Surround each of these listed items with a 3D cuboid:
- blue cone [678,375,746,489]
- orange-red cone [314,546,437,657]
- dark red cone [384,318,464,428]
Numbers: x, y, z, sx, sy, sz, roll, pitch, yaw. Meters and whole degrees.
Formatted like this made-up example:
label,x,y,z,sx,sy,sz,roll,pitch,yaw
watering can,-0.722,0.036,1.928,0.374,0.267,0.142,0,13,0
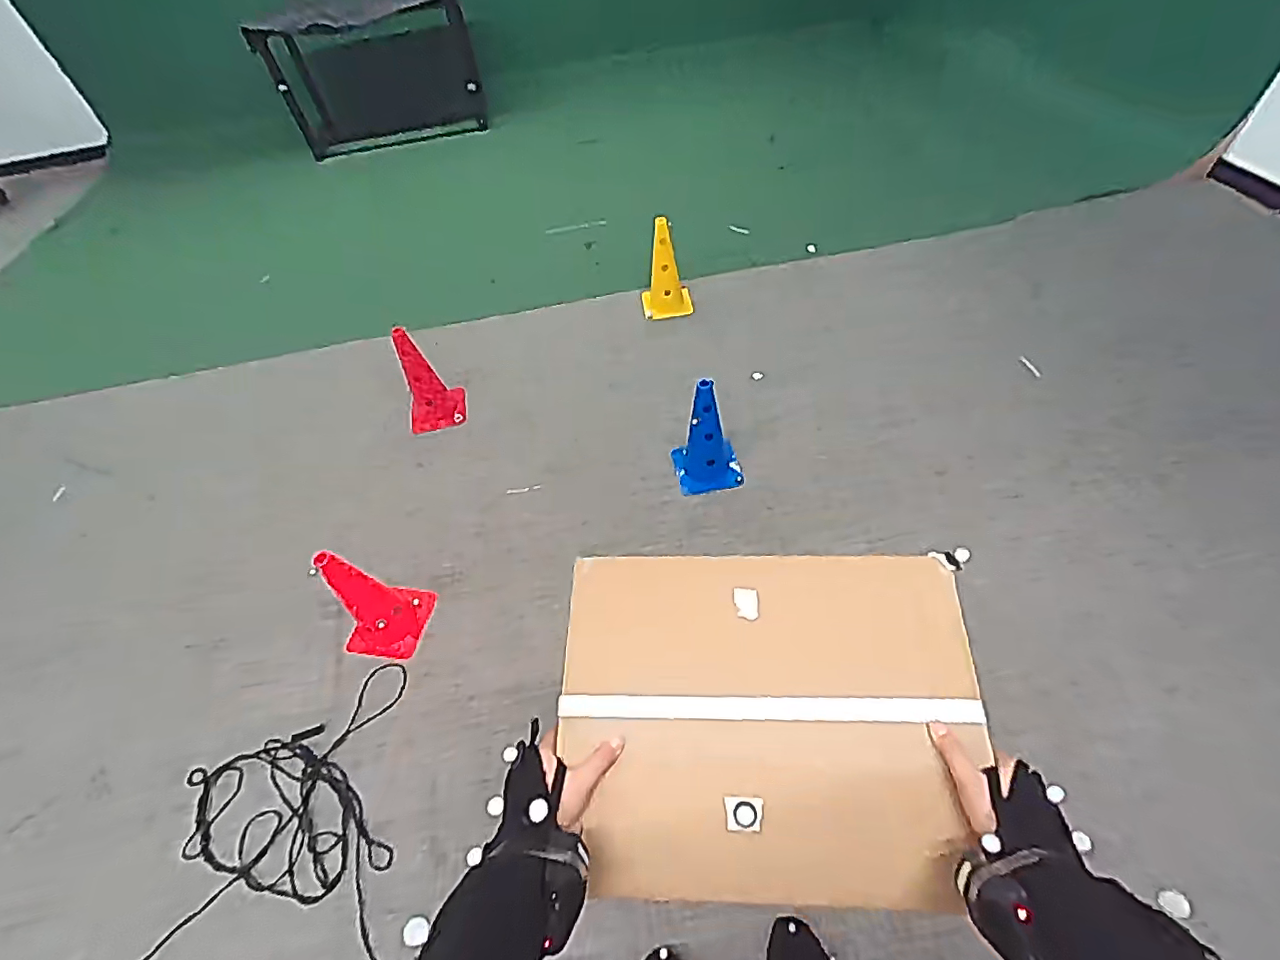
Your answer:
label,x,y,z,sx,sy,sz,roll,pitch,yaw
blue cone,0.204,-0.154,1.587,0.192,0.380,0.193,-10,51,0
orange-red cone,-0.703,0.277,1.362,0.199,0.360,0.198,4,51,14
dark red cone,-0.769,-0.382,1.872,0.202,0.394,0.201,-17,48,-5
